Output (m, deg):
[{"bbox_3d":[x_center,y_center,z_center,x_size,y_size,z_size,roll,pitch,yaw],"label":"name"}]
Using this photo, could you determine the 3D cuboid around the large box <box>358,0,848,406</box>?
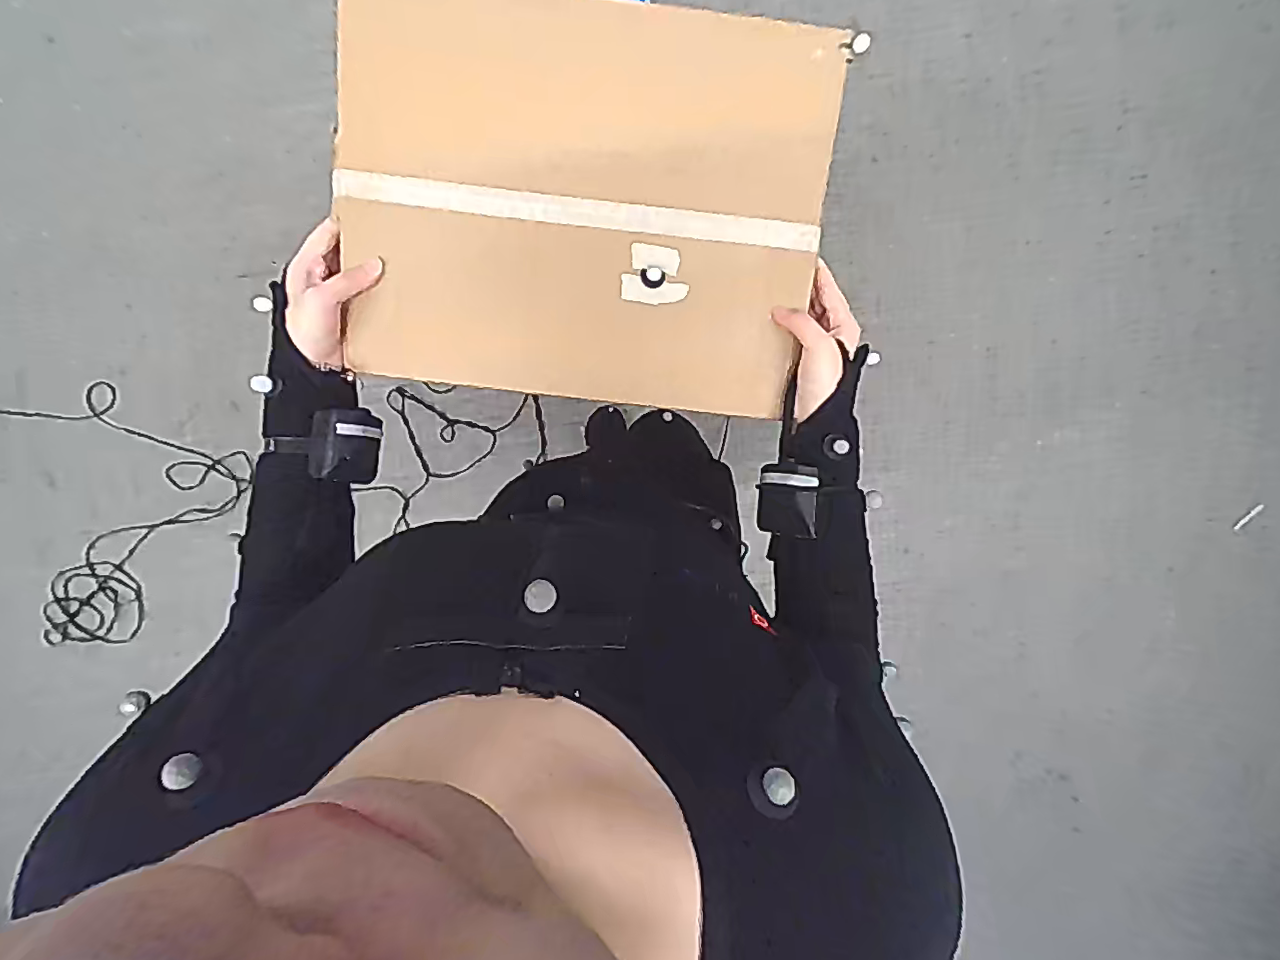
[{"bbox_3d":[-0.046,-0.267,0.610,0.408,0.320,0.320,6,103,-3],"label":"large box"}]
